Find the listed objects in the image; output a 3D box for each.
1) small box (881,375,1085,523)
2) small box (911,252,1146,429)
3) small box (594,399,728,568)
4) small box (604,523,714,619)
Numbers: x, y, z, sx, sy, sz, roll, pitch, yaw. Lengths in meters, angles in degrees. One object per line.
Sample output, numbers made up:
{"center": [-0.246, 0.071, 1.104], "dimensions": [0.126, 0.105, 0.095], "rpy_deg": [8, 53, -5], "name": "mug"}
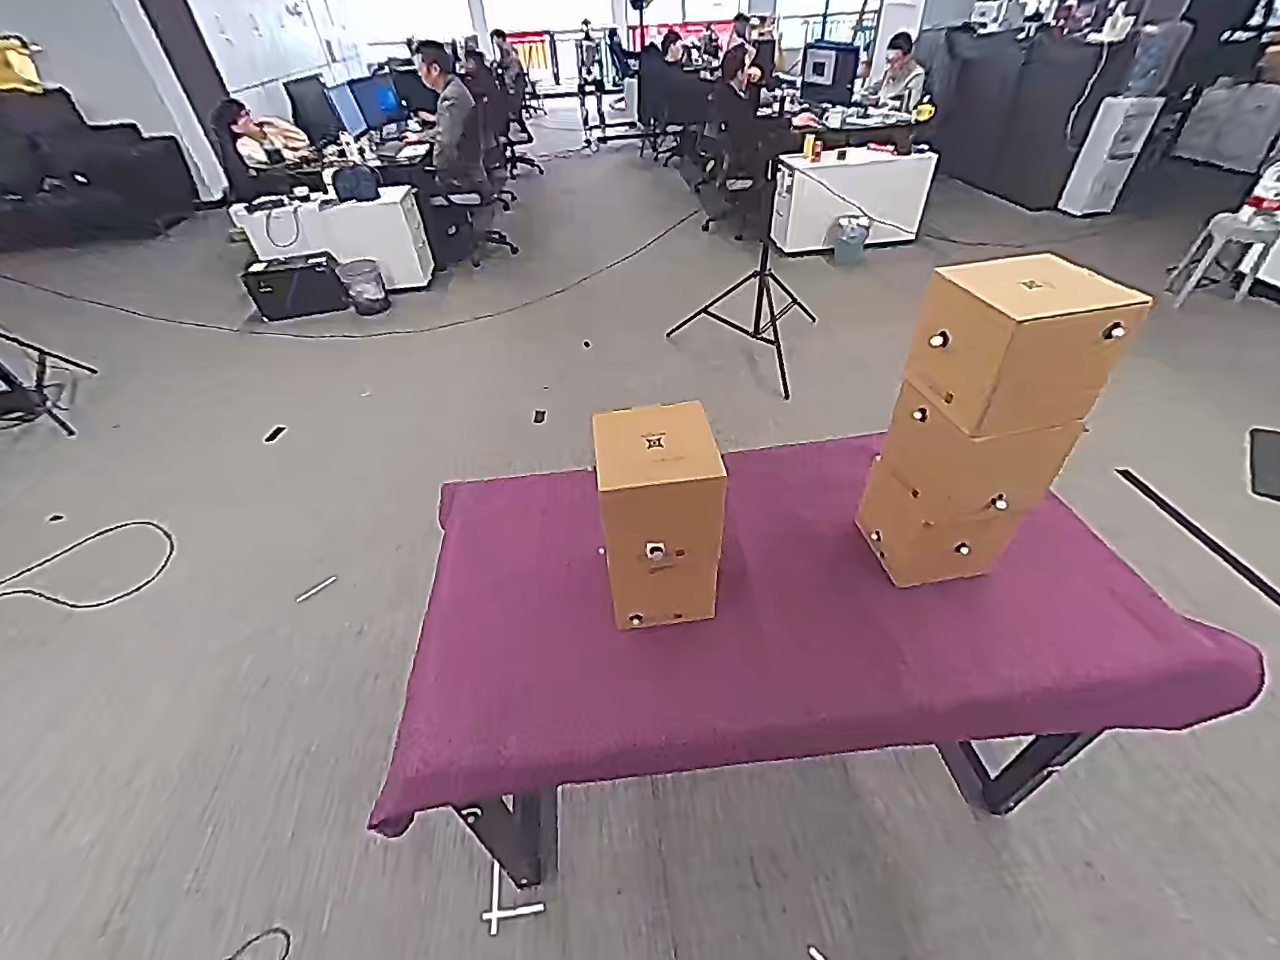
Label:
{"center": [0.503, -0.057, 0.827], "dimensions": [0.179, 0.176, 0.168], "rpy_deg": [-10, 41, -7], "name": "small box"}
{"center": [0.493, -0.184, 0.725], "dimensions": [0.179, 0.176, 0.168], "rpy_deg": [-10, 42, -6], "name": "small box"}
{"center": [0.025, 0.005, 0.795], "dimensions": [0.168, 0.176, 0.179], "rpy_deg": [-8, 43, -3], "name": "small box"}
{"center": [0.029, 0.118, 0.911], "dimensions": [0.168, 0.176, 0.179], "rpy_deg": [-6, 41, -4], "name": "small box"}
